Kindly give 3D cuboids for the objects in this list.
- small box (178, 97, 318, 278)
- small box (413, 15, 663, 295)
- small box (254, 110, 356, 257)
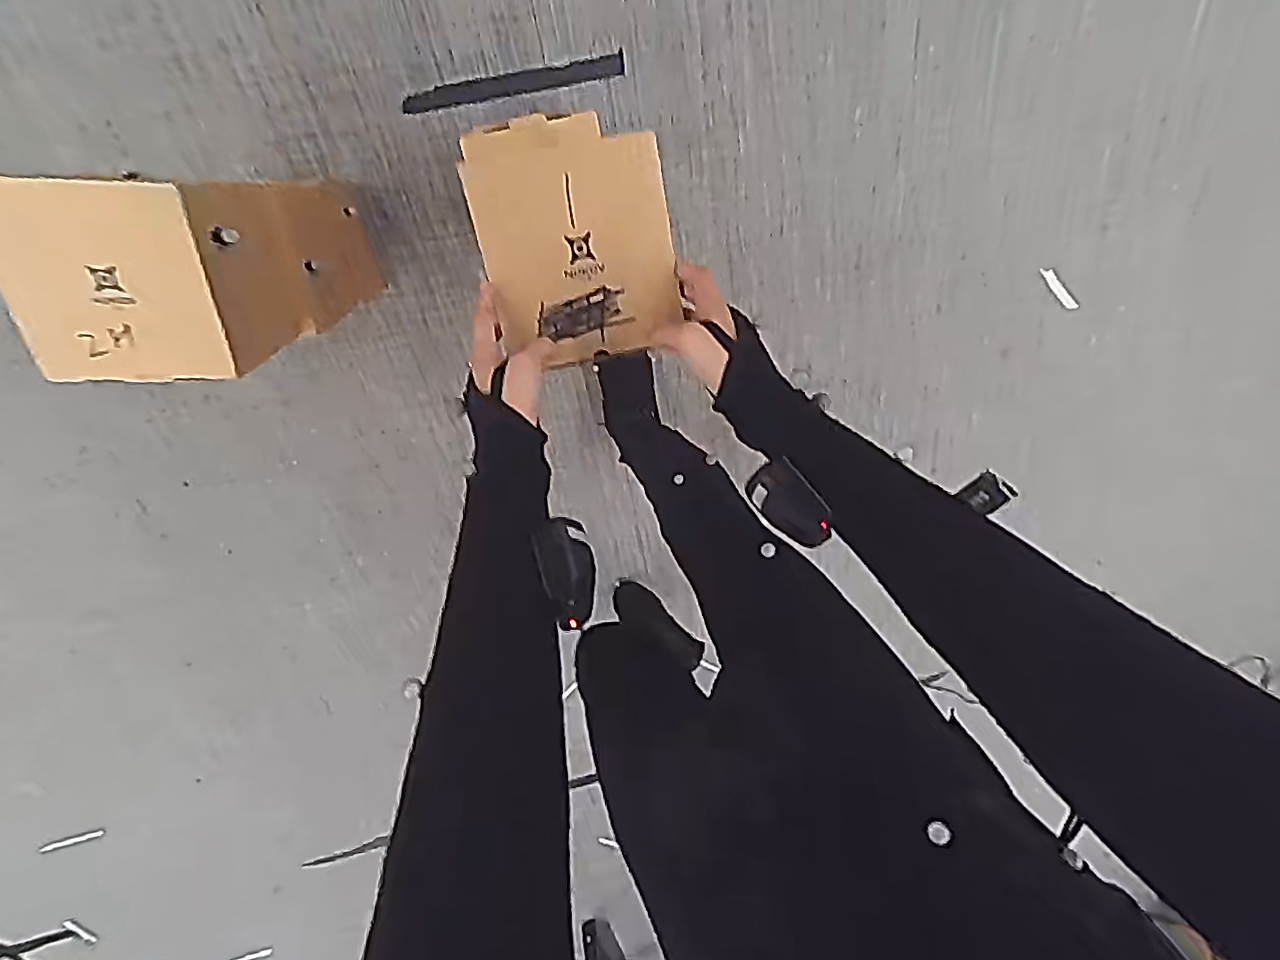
[{"bbox_3d":[-0.523,-0.344,0.651,0.168,0.176,0.179,-8,121,-8],"label":"small box"},{"bbox_3d":[-0.083,-0.279,0.500,0.168,0.176,0.179,-13,112,-5],"label":"small box"},{"bbox_3d":[-0.546,-0.421,0.791,0.168,0.176,0.179,-11,121,-7],"label":"small box"}]
